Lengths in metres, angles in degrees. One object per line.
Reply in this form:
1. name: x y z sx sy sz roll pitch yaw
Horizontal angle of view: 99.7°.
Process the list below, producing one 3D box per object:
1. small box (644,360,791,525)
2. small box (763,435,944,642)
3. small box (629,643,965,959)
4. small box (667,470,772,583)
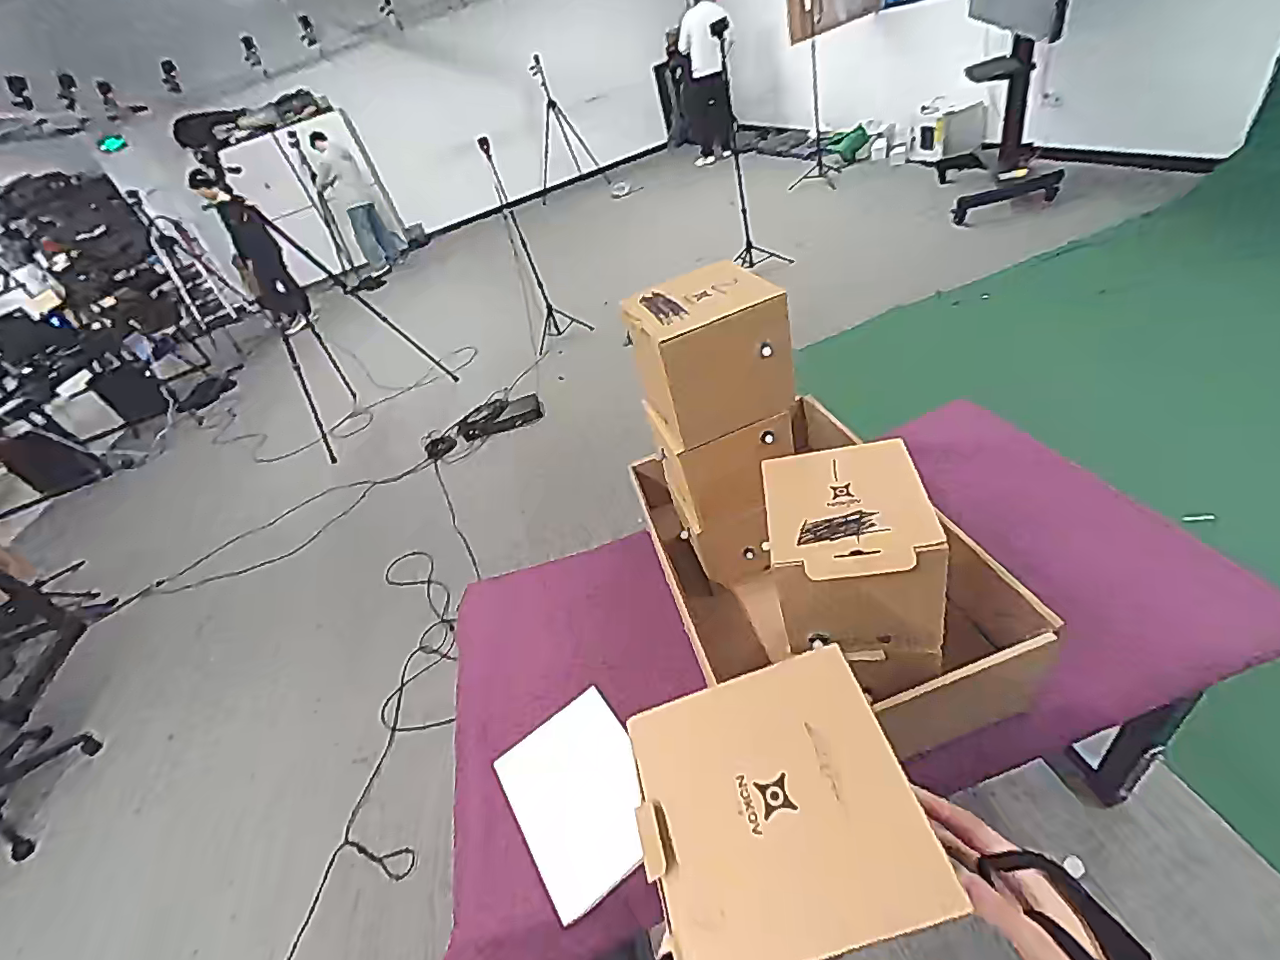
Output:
1. small box: 0.128 -0.057 0.859 0.179 0.176 0.168 -23 39 -3
2. small box: 0.245 0.076 0.638 0.168 0.176 0.179 -10 38 16
3. small box: 0.113 0.258 0.415 0.179 0.176 0.168 -22 47 6
4. small box: 0.166 0.061 0.963 0.168 0.176 0.179 -21 40 -1
